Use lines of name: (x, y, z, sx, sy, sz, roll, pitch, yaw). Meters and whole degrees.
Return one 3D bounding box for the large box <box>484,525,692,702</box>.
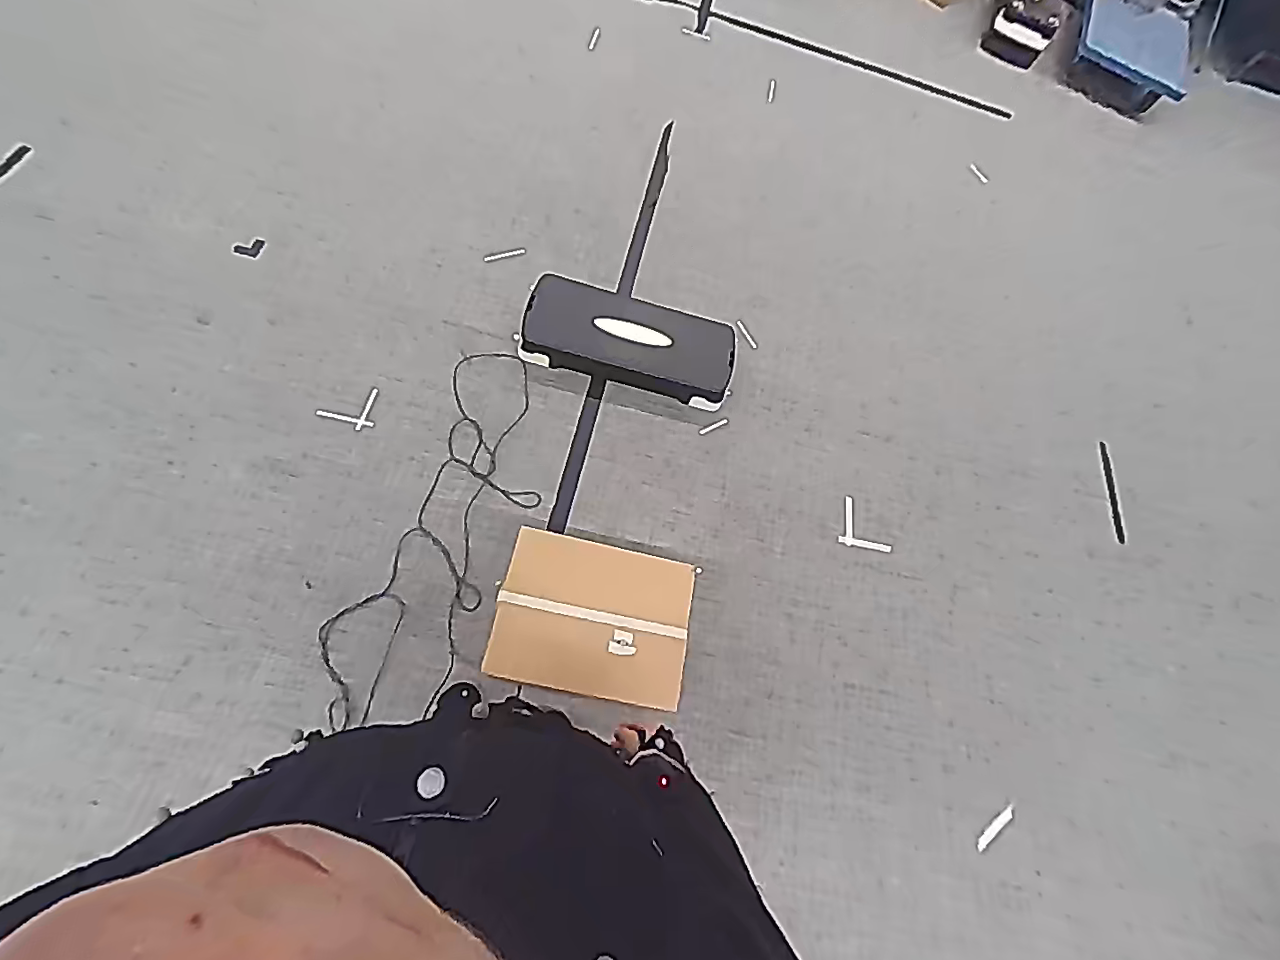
large box: (-0.126, 0.332, 1.283, 0.408, 0.320, 0.320, 14, 67, -7)
